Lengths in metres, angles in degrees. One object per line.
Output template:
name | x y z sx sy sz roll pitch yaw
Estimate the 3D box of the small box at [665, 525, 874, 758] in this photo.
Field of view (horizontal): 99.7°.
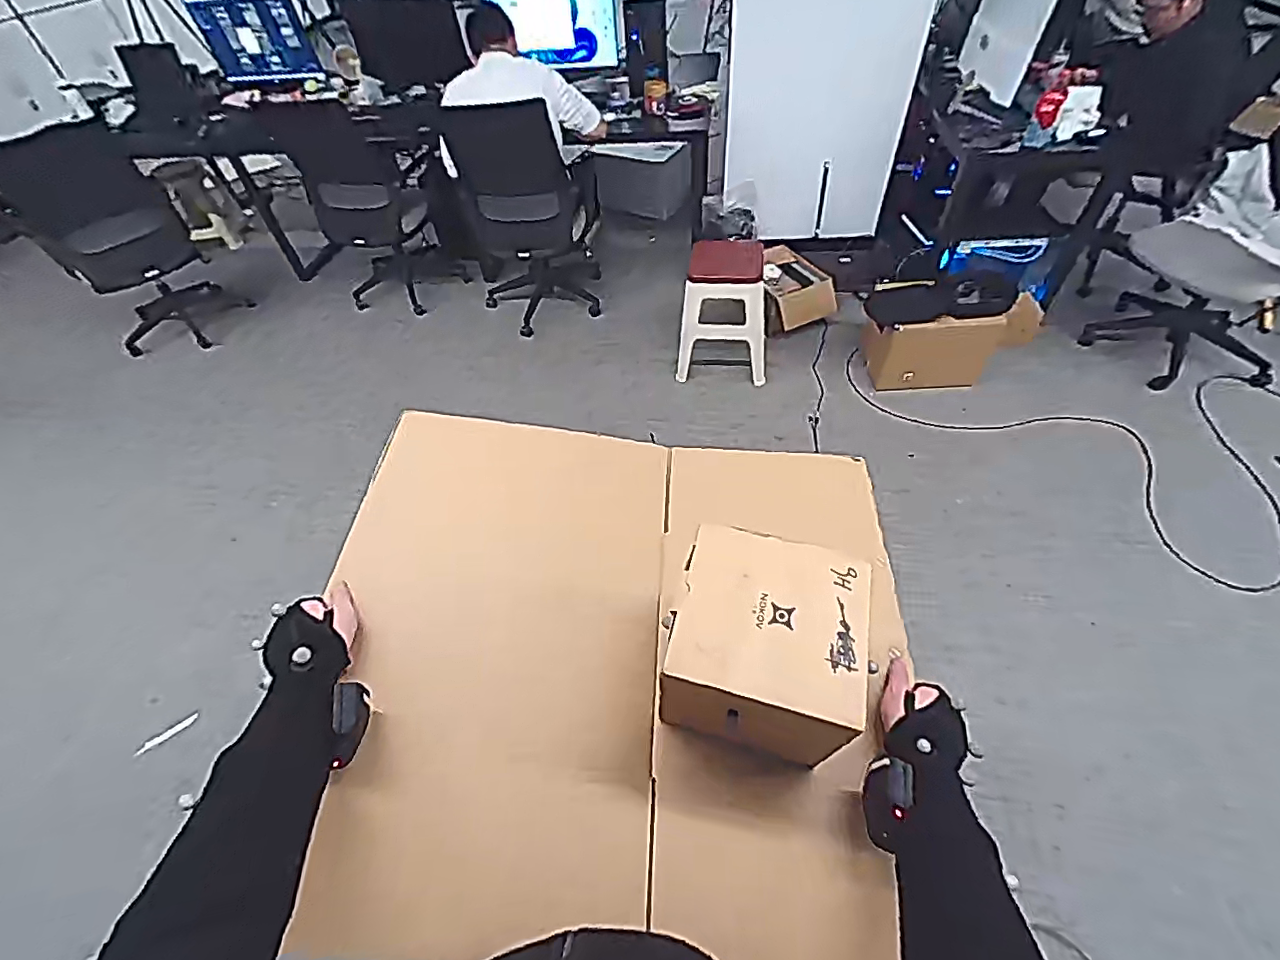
small box | 0.130 0.175 0.573 0.179 0.176 0.168 12 55 11
